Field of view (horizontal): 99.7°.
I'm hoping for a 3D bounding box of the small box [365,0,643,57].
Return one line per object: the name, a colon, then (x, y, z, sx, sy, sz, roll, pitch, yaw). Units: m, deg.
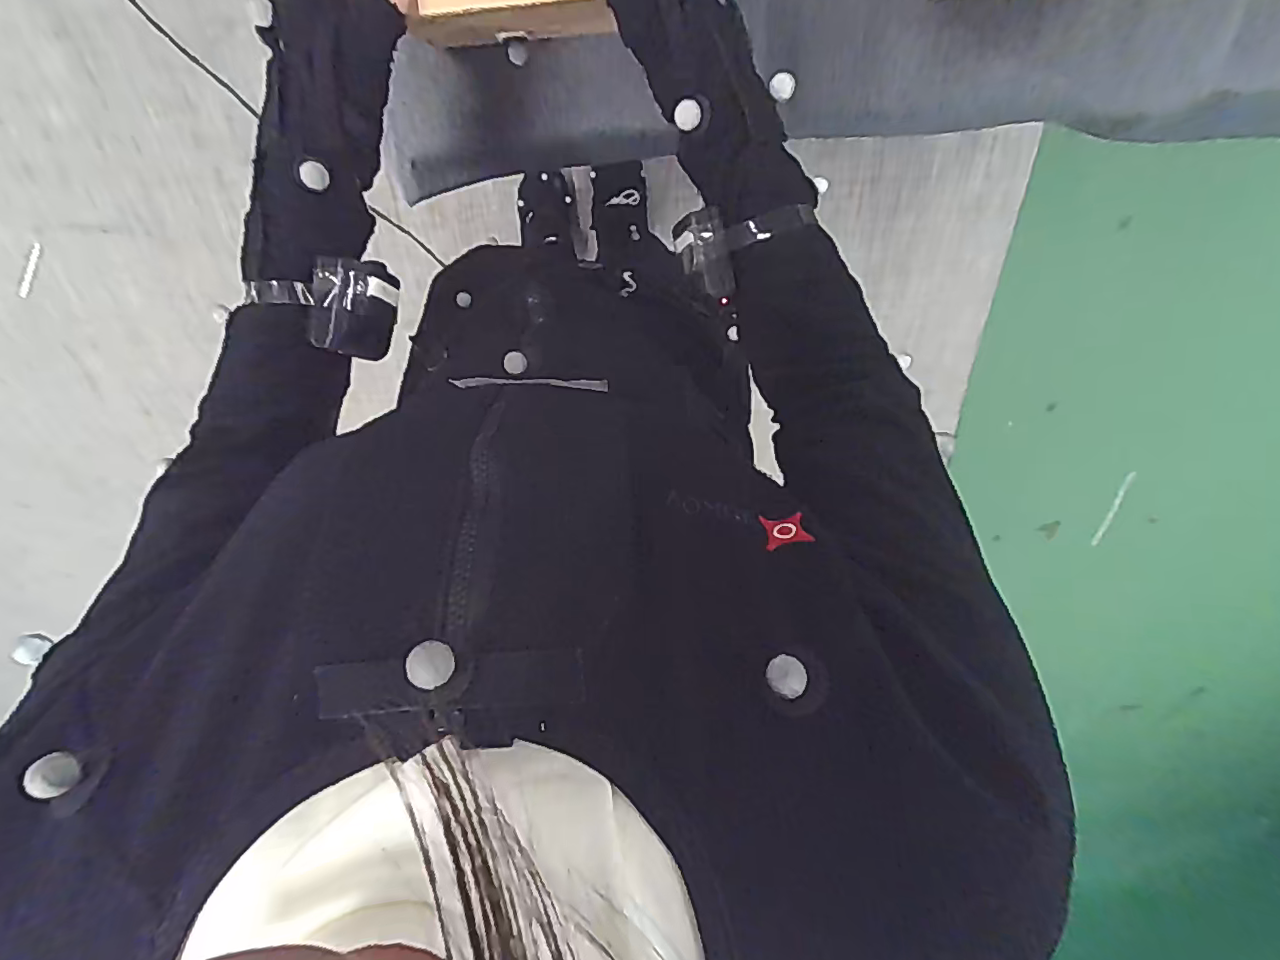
small box: (-0.089, -0.393, 0.342, 0.168, 0.176, 0.179, -5, 123, -1)
